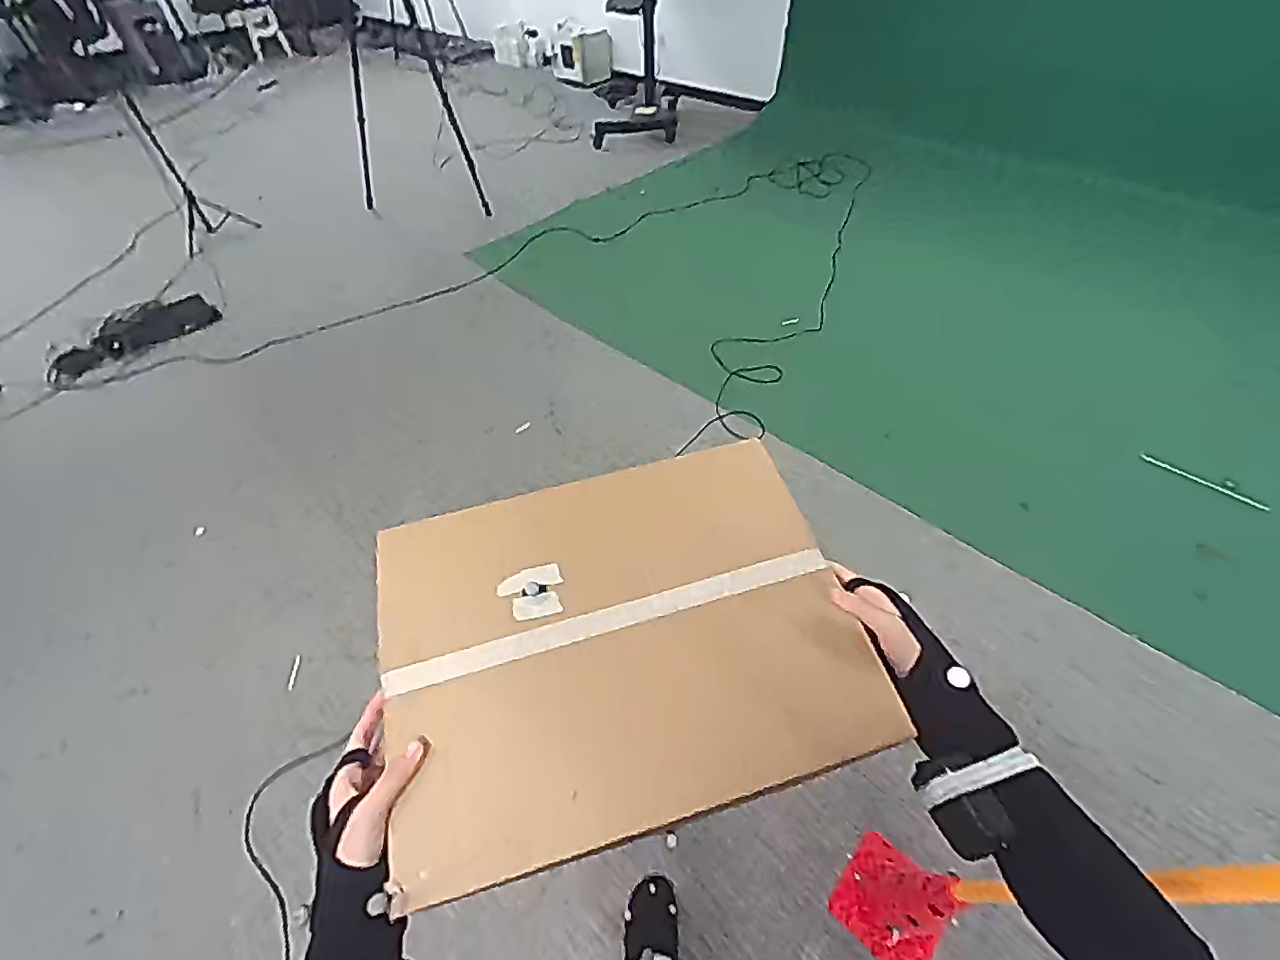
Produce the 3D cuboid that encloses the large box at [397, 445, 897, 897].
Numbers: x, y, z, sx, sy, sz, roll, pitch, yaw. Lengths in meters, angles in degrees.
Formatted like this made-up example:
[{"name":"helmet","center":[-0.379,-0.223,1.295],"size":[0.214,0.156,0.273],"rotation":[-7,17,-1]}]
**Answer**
[{"name":"large box","center":[-0.011,0.211,0.621],"size":[0.408,0.320,0.320],"rotation":[-14,57,-7]}]
